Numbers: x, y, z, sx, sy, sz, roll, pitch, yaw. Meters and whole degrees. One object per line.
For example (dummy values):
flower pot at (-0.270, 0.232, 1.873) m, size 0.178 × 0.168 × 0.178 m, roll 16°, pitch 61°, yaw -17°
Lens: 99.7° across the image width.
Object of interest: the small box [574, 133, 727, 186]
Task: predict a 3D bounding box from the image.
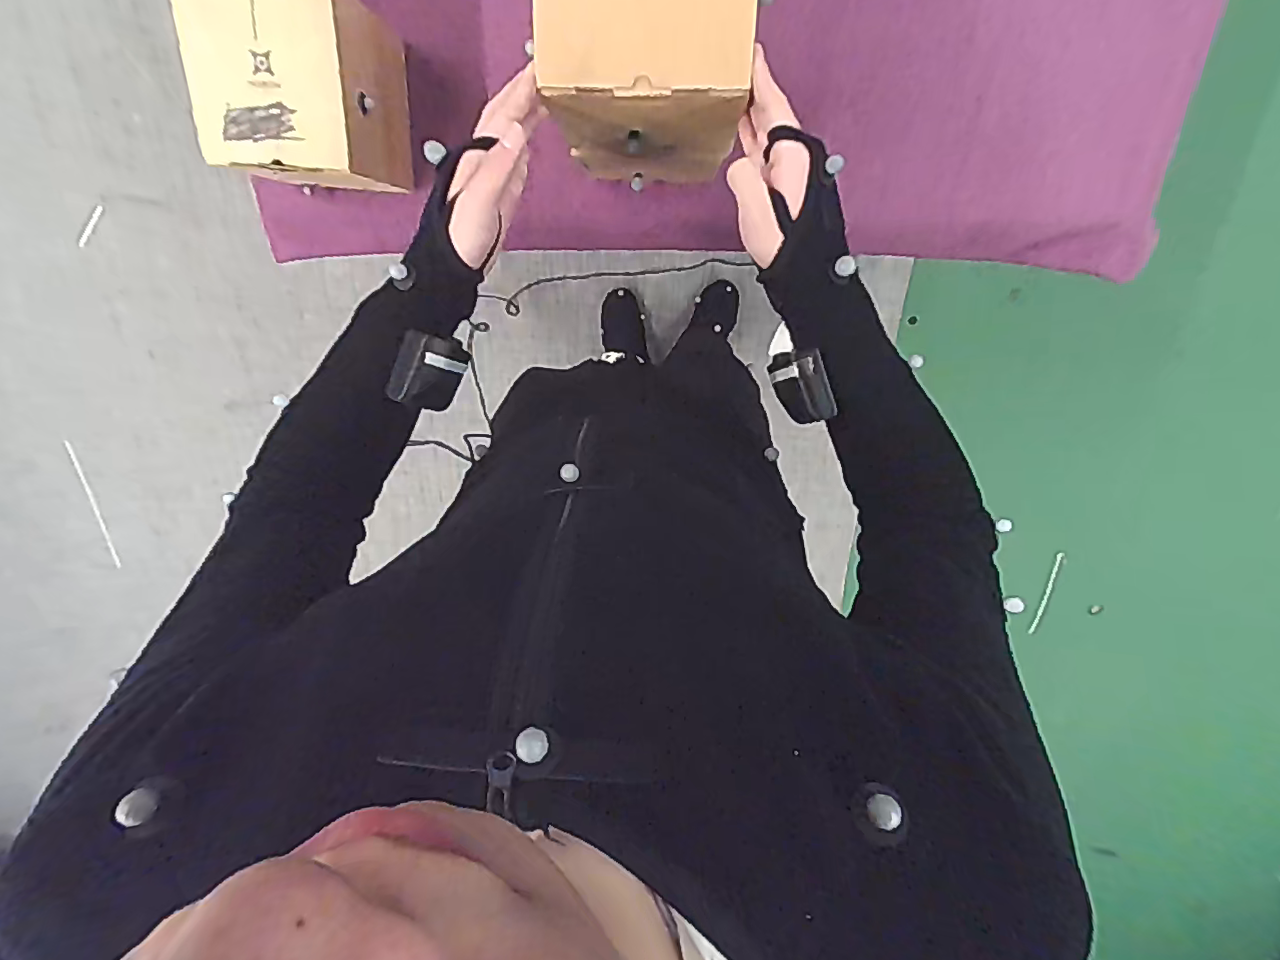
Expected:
small box at (0.017, -0.449, 0.618) m, size 0.168 × 0.176 × 0.179 m, roll 3°, pitch 112°, yaw 2°

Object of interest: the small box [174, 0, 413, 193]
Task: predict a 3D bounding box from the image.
small box at (-0.382, -0.446, 0.632) m, size 0.168 × 0.176 × 0.179 m, roll 4°, pitch 111°, yaw 0°

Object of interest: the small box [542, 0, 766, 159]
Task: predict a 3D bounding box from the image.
small box at (0.013, -0.395, 0.461) m, size 0.168 × 0.176 × 0.179 m, roll 2°, pitch 109°, yaw 2°
